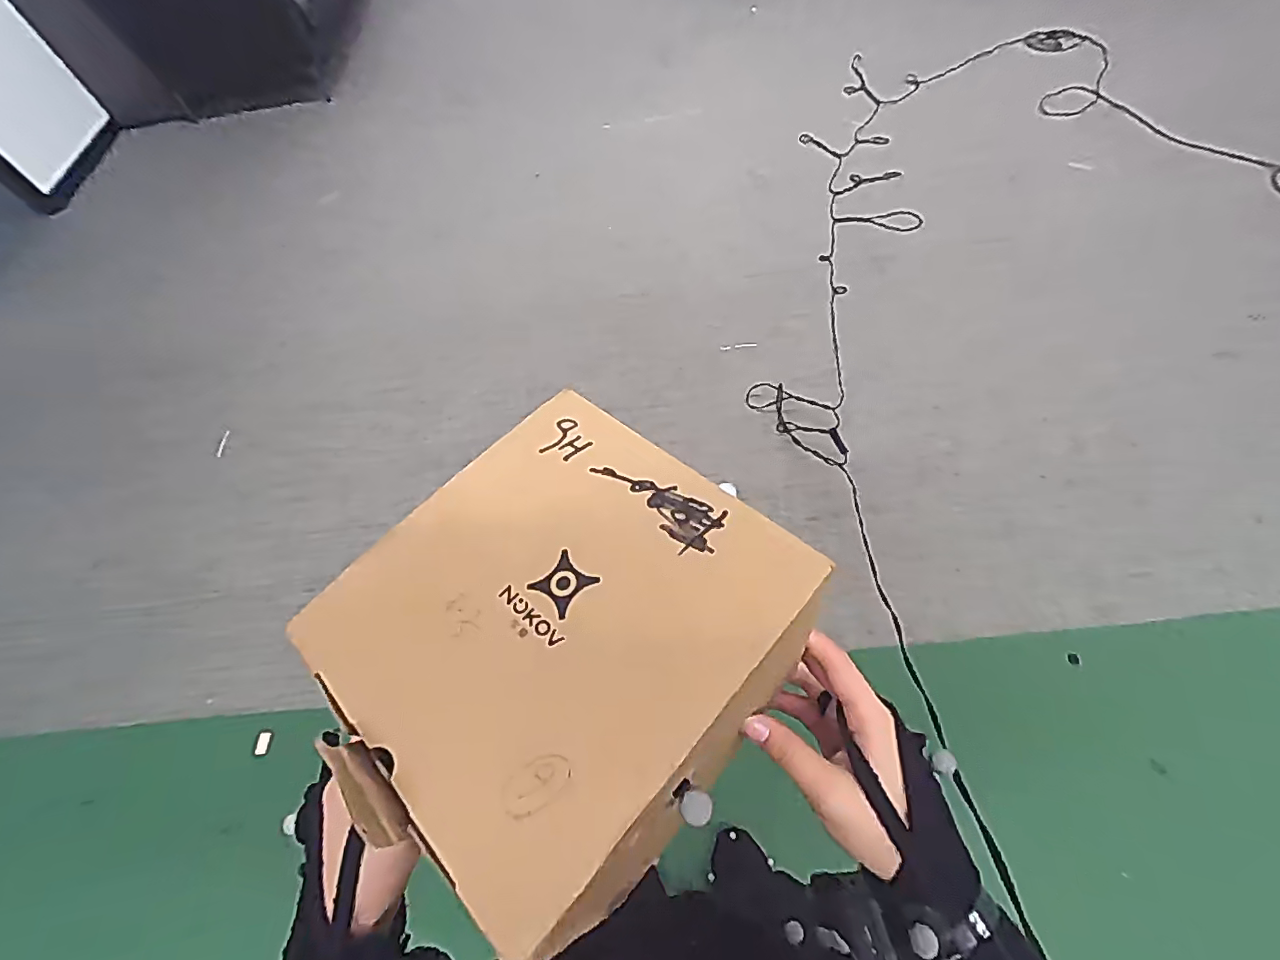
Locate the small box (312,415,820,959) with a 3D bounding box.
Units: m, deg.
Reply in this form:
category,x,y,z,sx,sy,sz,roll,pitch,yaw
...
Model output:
category,x,y,z,sx,sy,sz,roll,pitch,yaw
small box,-0.025,0.105,0.303,0.168,0.176,0.179,35,68,27
